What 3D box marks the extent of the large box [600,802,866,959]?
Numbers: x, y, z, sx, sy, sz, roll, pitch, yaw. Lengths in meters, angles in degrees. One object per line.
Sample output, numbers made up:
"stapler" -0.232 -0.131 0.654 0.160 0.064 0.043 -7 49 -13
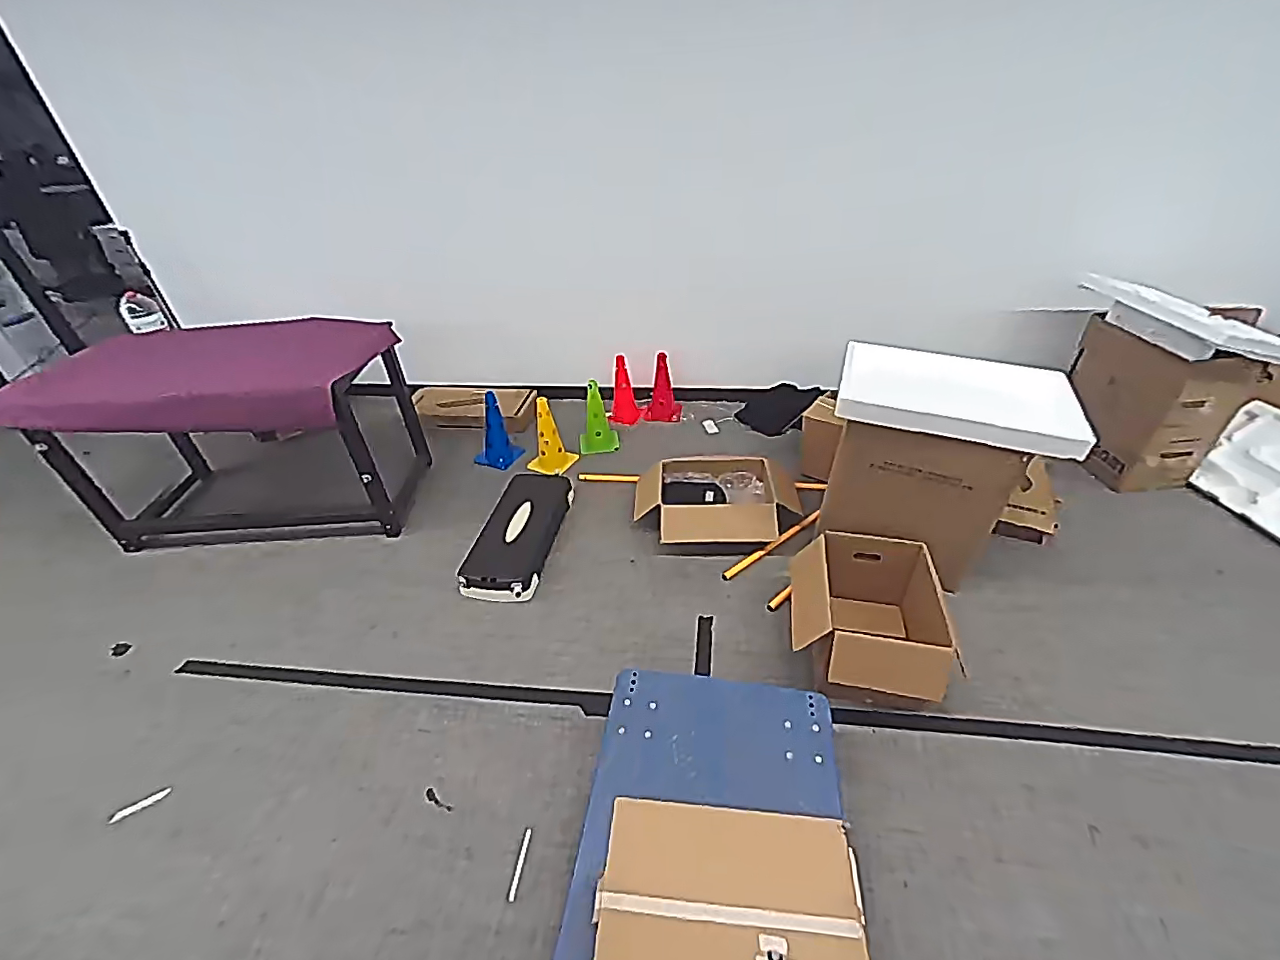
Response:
"large box" 0.145 0.807 0.939 0.408 0.320 0.320 3 37 5
